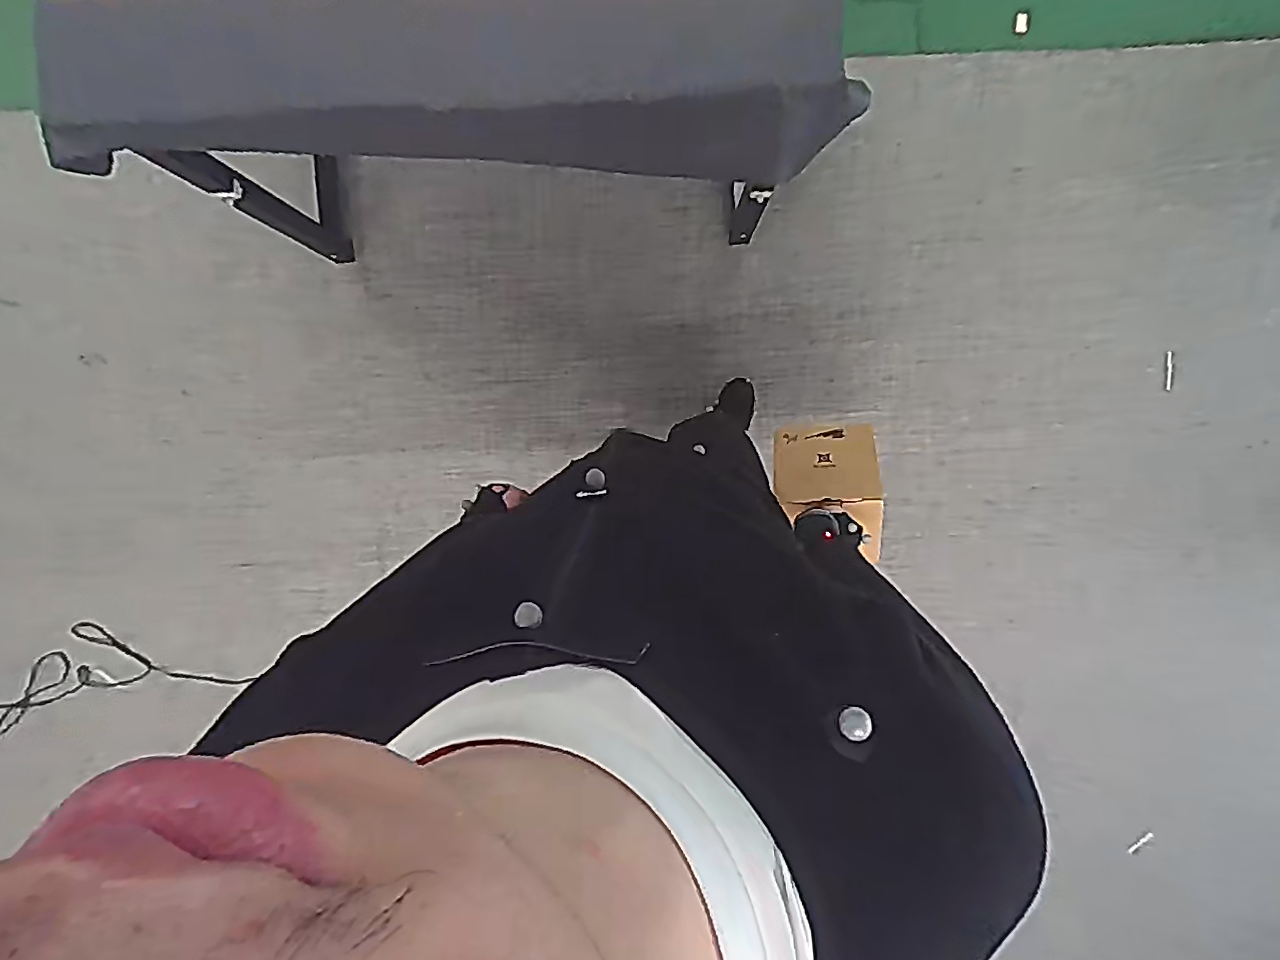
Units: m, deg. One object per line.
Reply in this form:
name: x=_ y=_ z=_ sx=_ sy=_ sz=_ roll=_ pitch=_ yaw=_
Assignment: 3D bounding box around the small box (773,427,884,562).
small box: x=0.329 y=0.034 z=0.953 sx=0.168 sy=0.179 sz=0.176 roll=-5 pitch=136 yaw=17
